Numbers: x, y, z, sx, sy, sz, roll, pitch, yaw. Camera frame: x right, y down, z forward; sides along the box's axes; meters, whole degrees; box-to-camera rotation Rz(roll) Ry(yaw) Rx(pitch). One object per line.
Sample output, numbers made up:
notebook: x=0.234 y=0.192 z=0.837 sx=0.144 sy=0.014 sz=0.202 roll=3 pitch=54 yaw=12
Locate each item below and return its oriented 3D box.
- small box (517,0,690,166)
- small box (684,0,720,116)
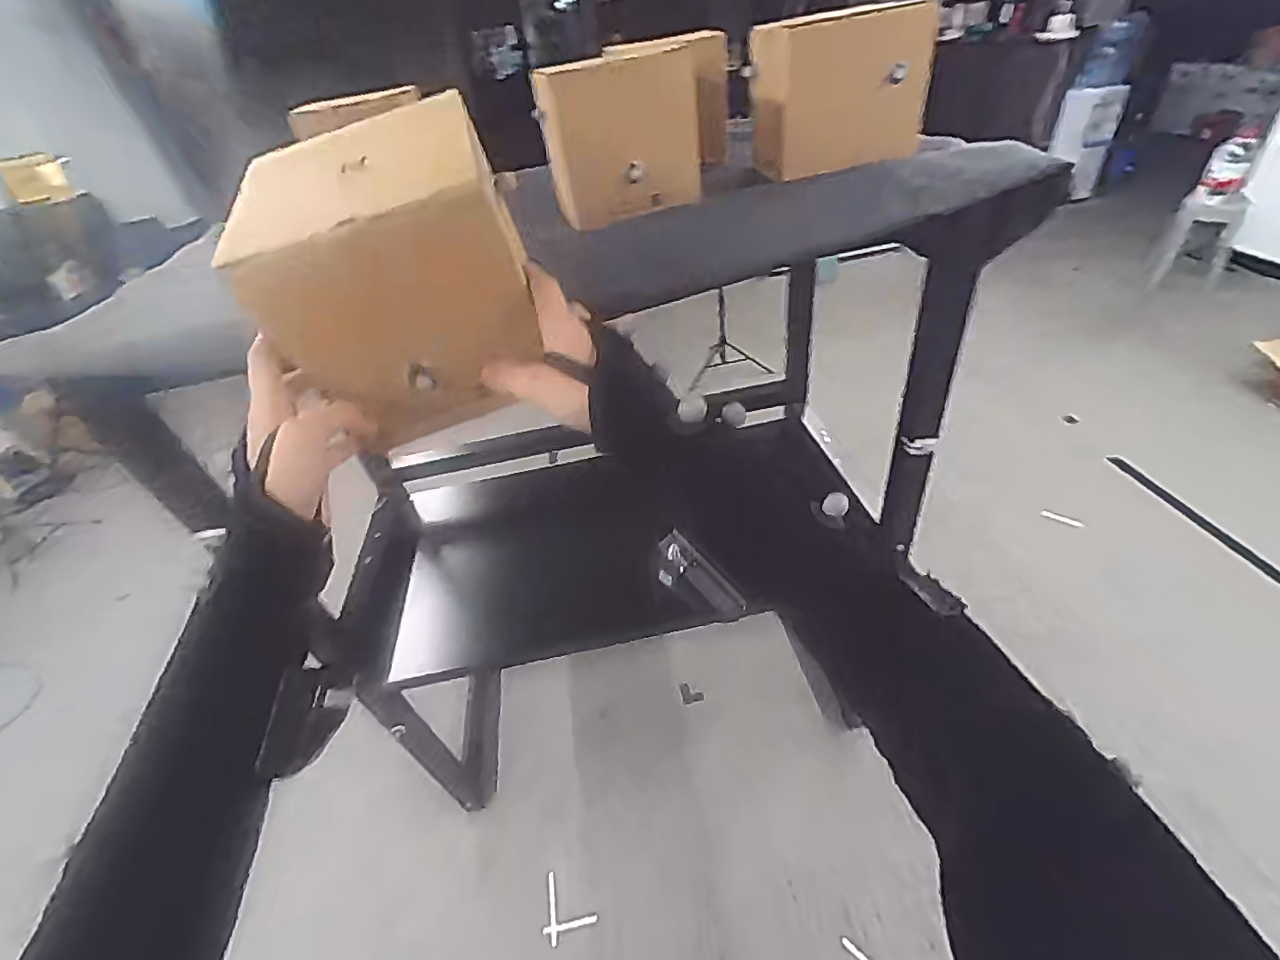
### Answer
small box: x=-0.045 y=-0.501 z=0.664 sx=0.168 sy=0.176 sz=0.179 roll=-16 pitch=41 yaw=-6
small box: x=0.025 y=-0.678 z=0.855 sx=0.168 sy=0.176 sz=0.179 roll=-12 pitch=40 yaw=-1
